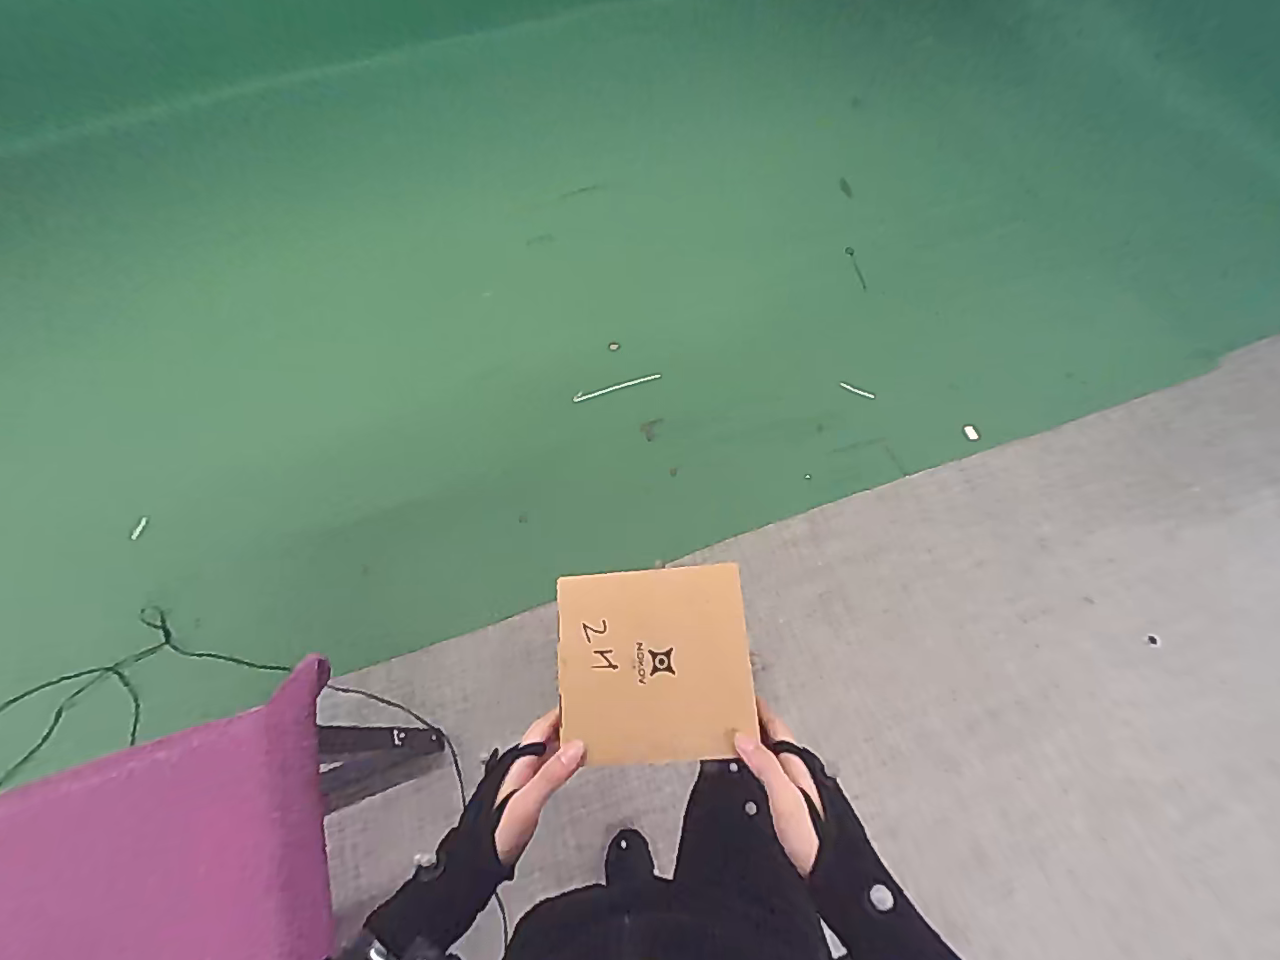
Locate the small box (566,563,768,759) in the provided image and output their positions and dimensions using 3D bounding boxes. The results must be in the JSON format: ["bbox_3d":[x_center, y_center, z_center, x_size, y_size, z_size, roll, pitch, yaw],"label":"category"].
[{"bbox_3d":[0.027,0.183,0.563,0.179,0.176,0.168,-5,71,5],"label":"small box"}]
